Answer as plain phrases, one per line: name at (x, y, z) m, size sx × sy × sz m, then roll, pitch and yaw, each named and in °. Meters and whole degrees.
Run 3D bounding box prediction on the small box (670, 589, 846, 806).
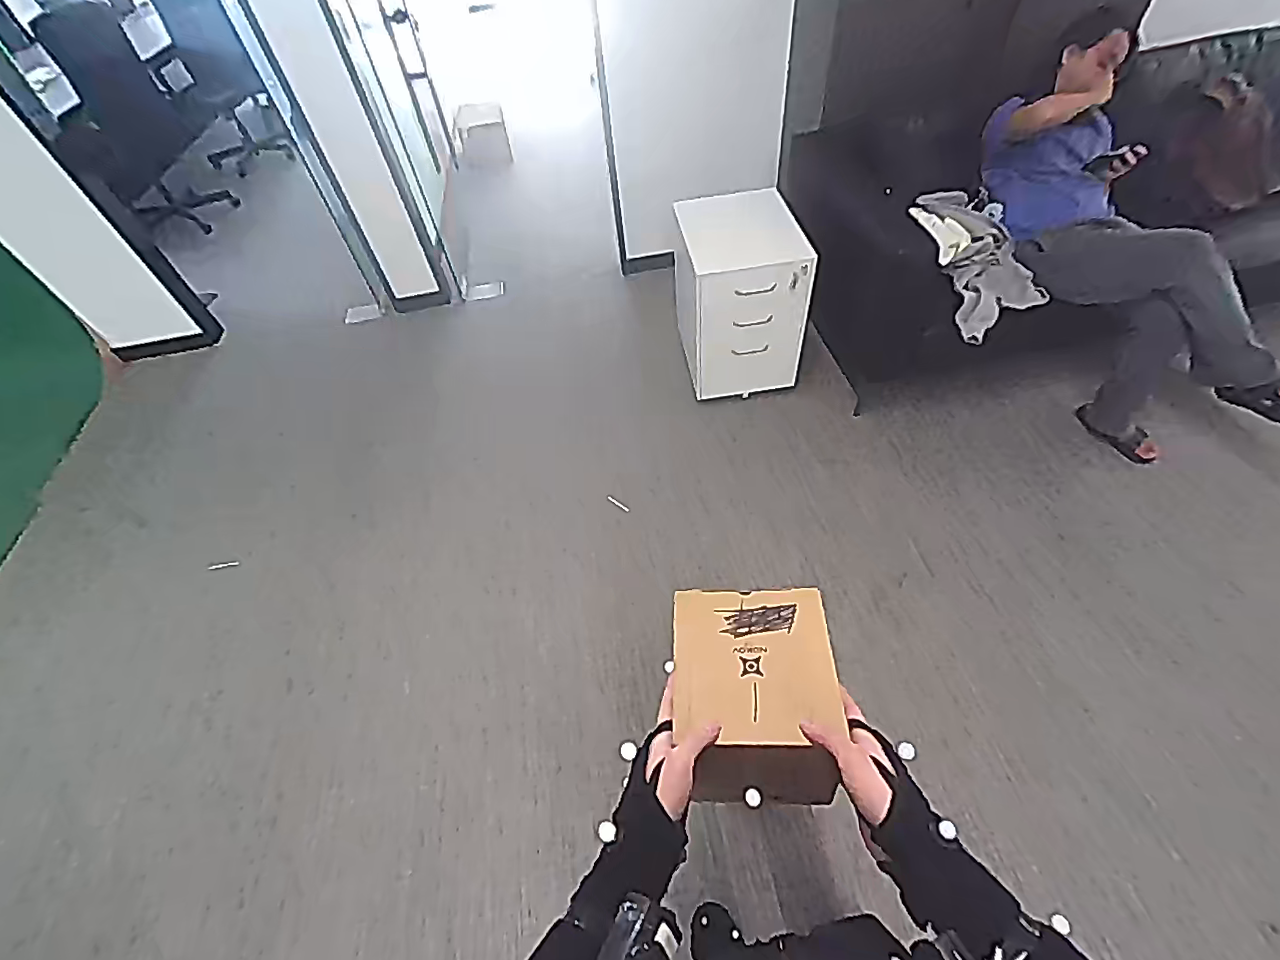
small box at (0.123, 0.245, 0.619) m, size 0.168 × 0.176 × 0.179 m, roll -2°, pitch 44°, yaw 7°
